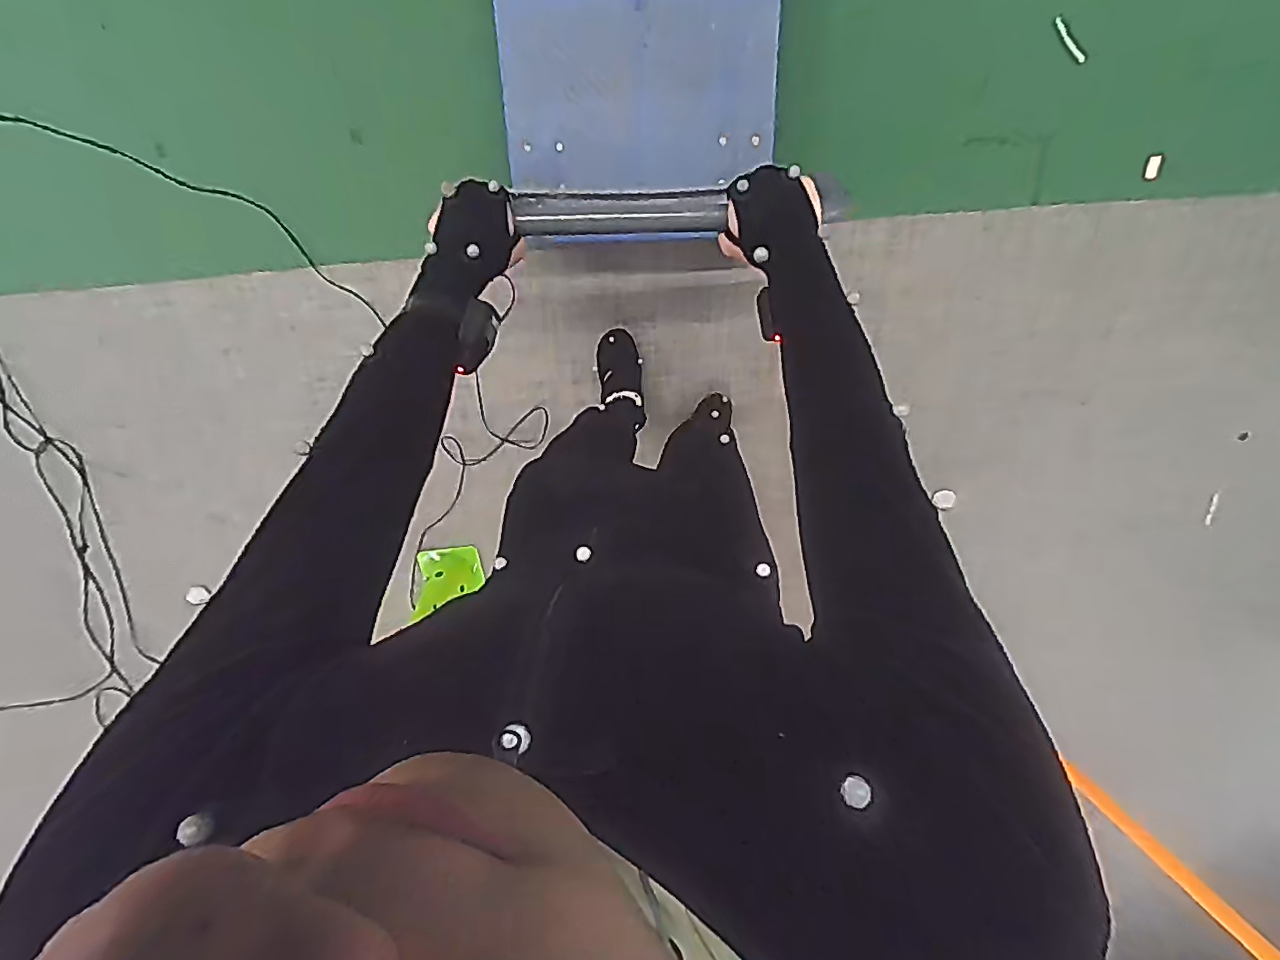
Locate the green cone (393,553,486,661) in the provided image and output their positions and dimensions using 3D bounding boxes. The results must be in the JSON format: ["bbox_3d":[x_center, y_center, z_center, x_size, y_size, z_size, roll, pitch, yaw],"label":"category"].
[{"bbox_3d":[-0.617,0.390,1.583,0.202,0.368,0.200,-7,111,5],"label":"green cone"}]
